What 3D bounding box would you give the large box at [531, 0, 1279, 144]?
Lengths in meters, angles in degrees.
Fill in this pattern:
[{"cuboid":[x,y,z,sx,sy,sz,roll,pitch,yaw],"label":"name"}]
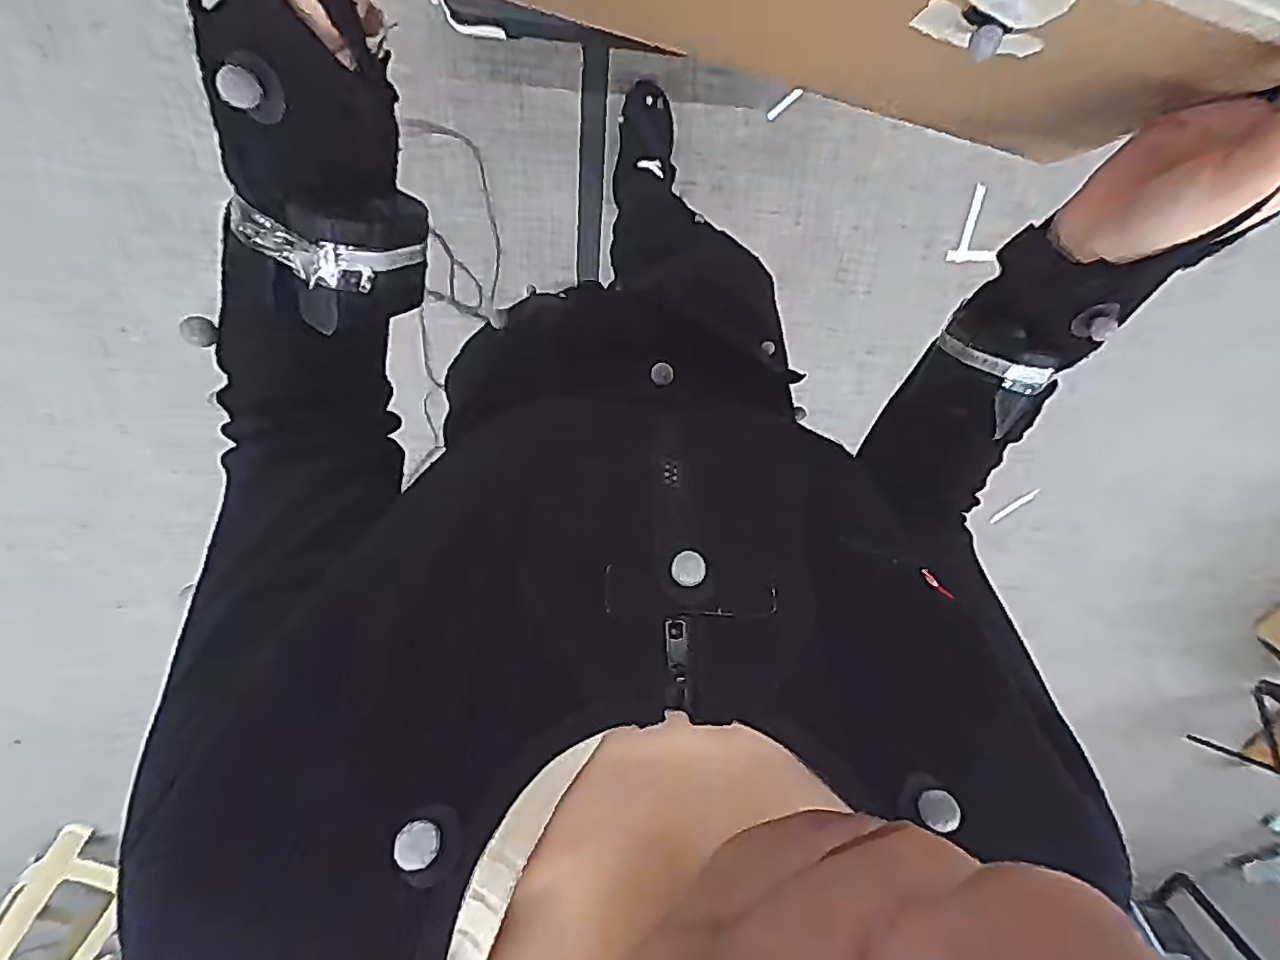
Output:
[{"cuboid":[0.117,-0.352,0.142,0.408,0.320,0.320,8,105,-11],"label":"large box"}]
